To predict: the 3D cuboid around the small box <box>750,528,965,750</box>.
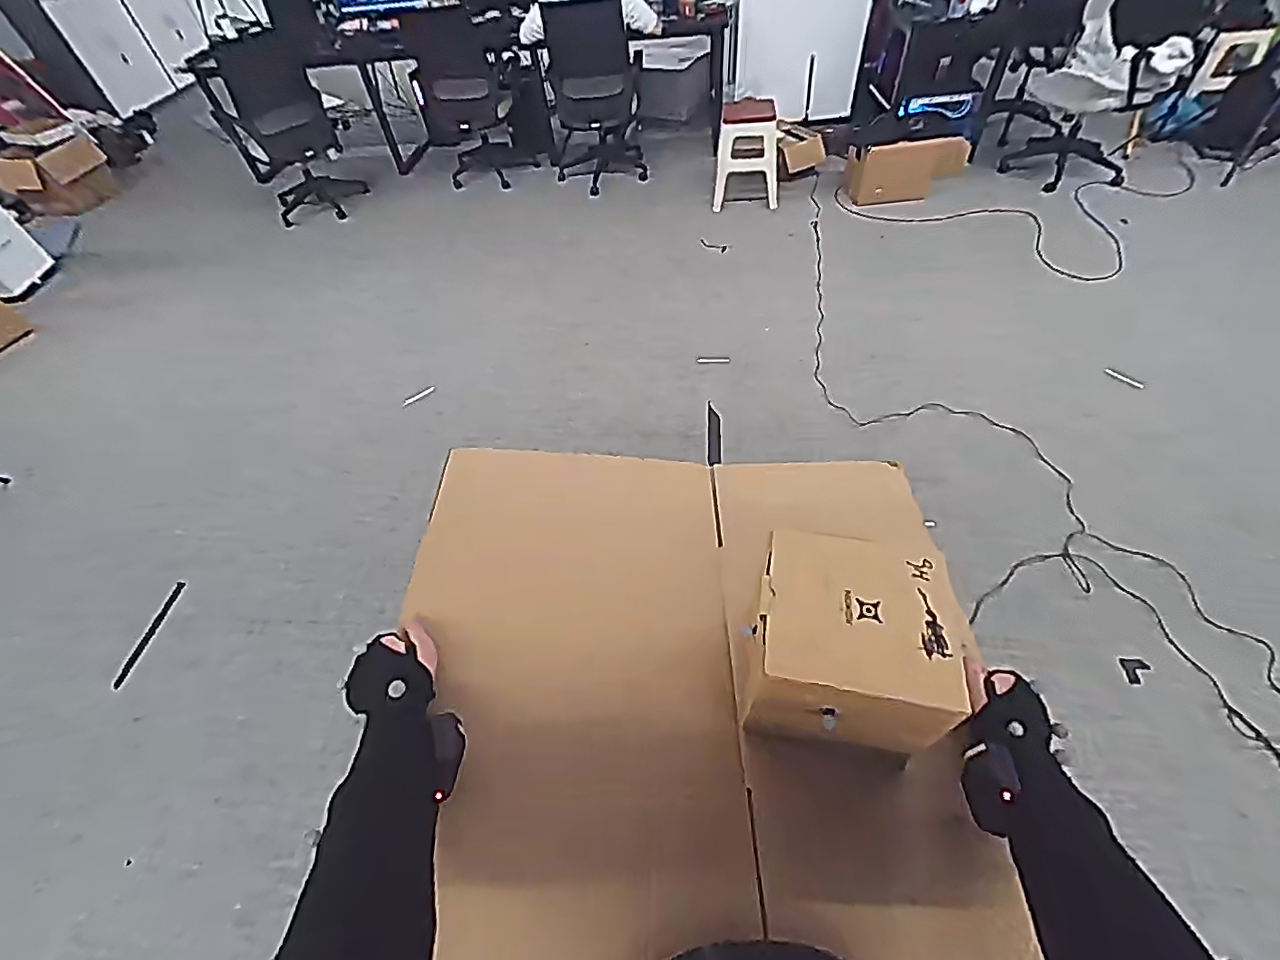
[{"bbox_3d":[0.217,0.174,0.586,0.179,0.176,0.168,7,51,11],"label":"small box"}]
